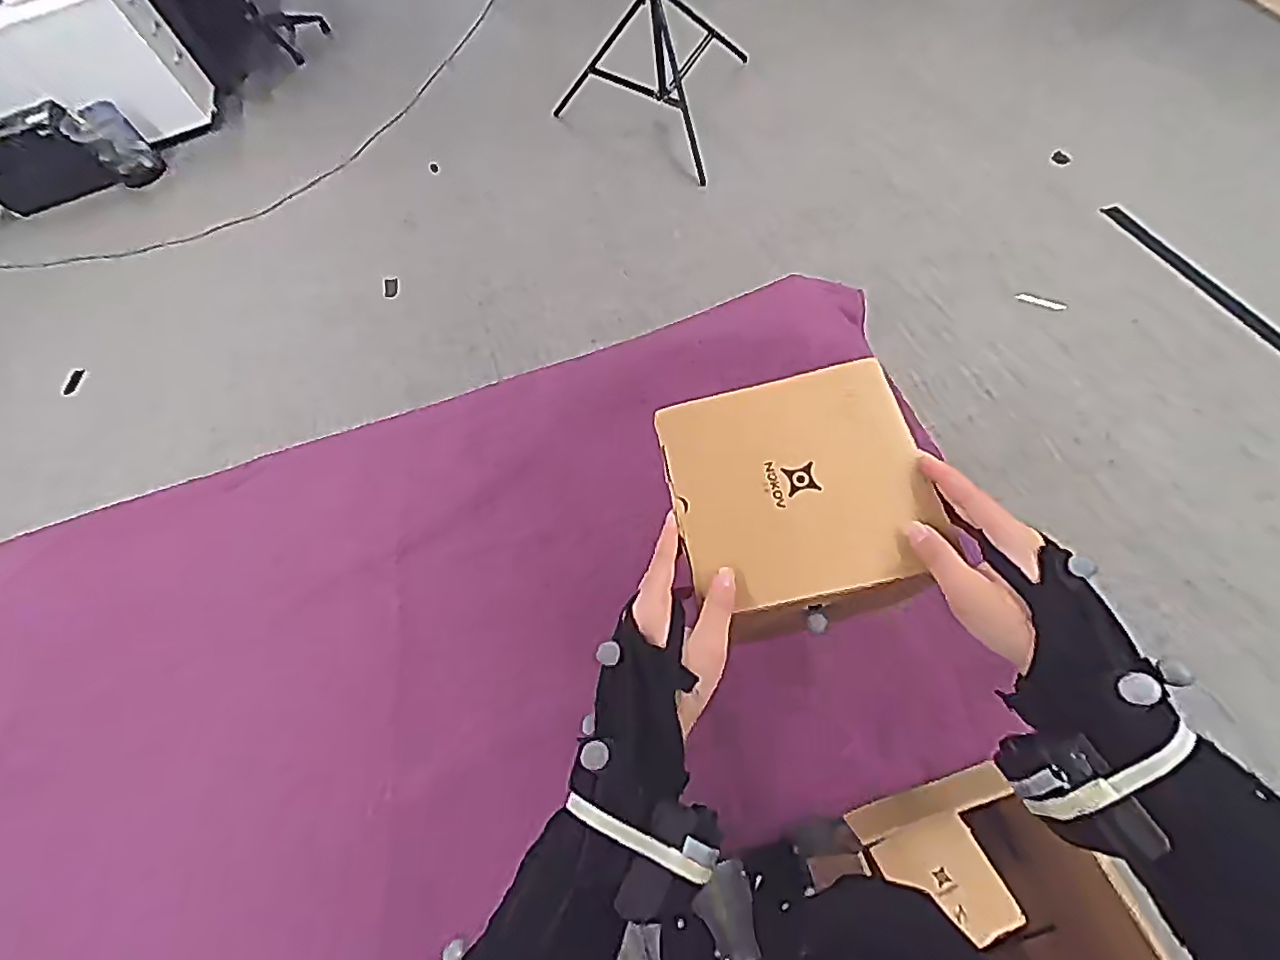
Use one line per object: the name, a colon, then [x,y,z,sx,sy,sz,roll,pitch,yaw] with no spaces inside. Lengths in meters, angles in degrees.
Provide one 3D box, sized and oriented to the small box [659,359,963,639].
small box: [0.124,0.030,0.456,0.179,0.176,0.168,-14,66,5]
